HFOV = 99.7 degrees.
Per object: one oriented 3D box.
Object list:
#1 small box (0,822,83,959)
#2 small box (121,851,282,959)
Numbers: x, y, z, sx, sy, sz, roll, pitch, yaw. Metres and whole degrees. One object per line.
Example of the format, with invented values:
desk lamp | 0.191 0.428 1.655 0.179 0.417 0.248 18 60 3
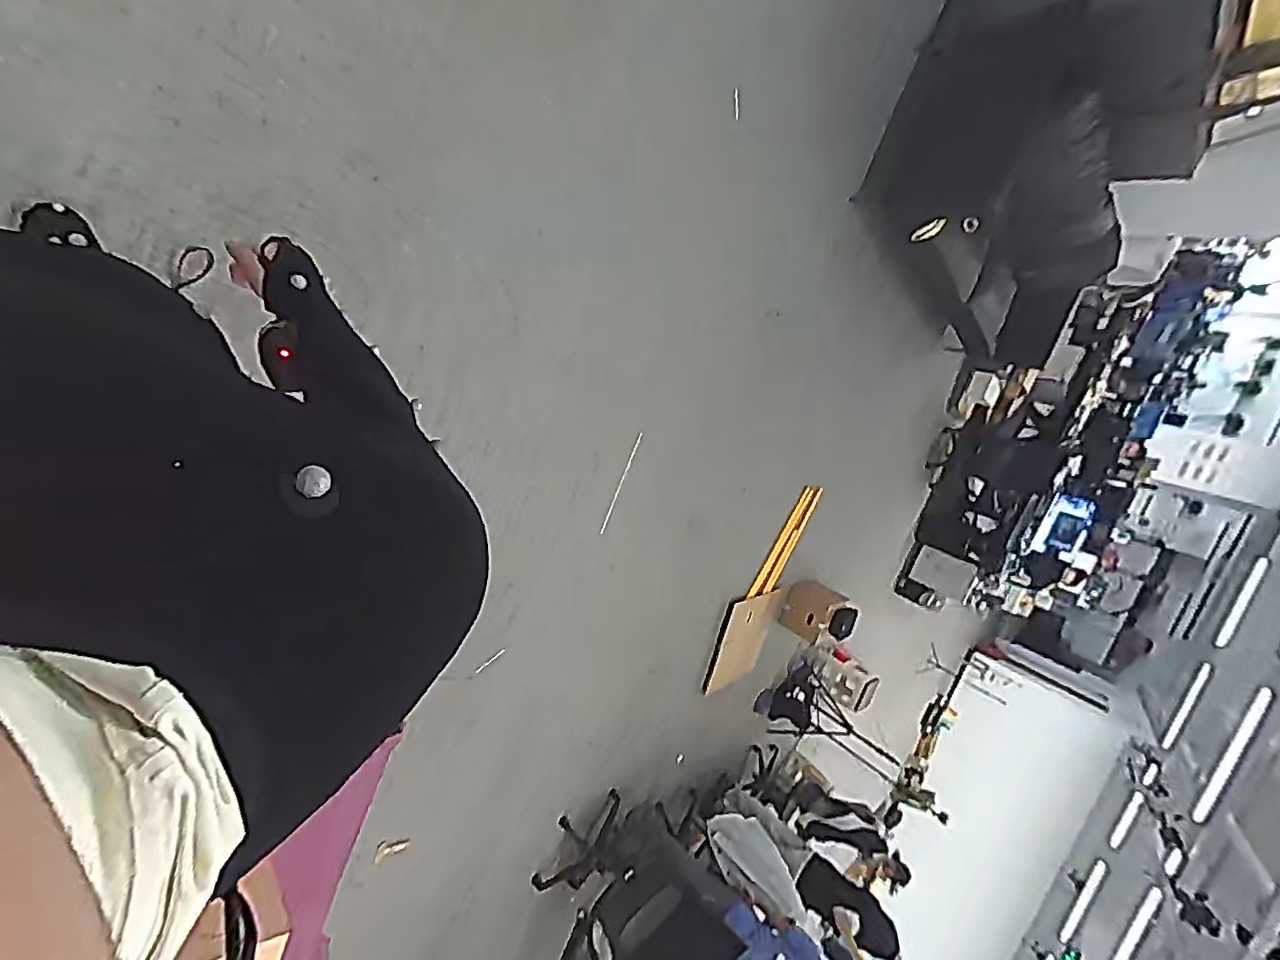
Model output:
small box | -0.855 0.595 0.699 0.168 0.176 0.179 15 101 -49
small box | -0.744 0.785 0.914 0.168 0.176 0.179 17 98 -50
